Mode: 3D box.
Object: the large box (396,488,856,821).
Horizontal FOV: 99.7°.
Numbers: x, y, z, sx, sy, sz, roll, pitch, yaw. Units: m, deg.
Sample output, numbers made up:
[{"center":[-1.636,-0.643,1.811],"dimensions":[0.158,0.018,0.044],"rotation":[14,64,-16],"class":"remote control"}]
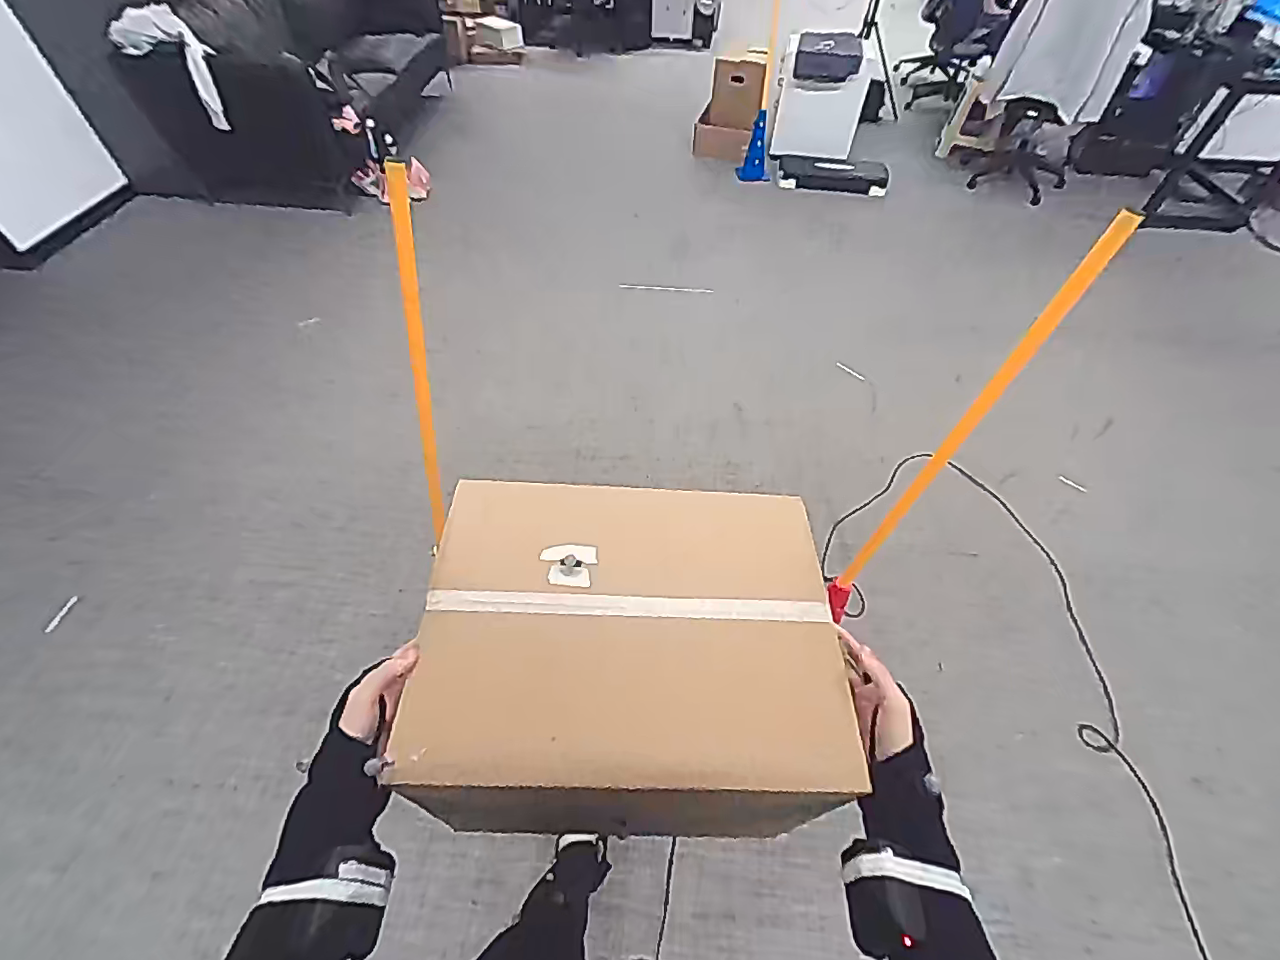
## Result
[{"center":[-0.015,0.227,0.668],"dimensions":[0.408,0.320,0.320],"rotation":[3,51,-3],"class":"large box"}]
